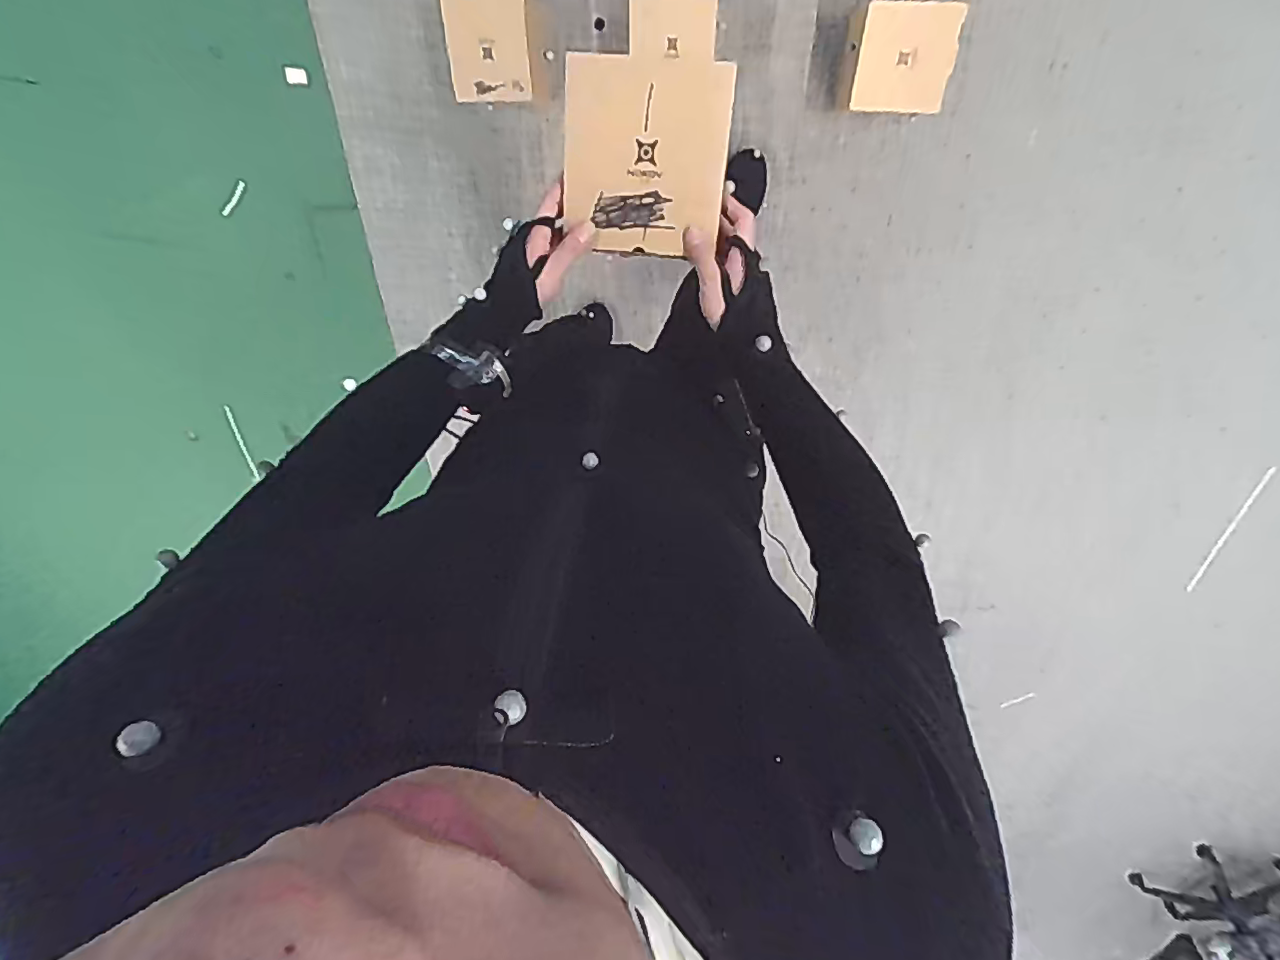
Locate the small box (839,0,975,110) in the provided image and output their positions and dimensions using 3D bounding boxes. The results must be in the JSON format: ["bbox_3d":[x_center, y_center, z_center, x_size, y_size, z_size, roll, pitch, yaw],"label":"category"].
[{"bbox_3d":[0.503,-0.824,1.051,0.179,0.176,0.168,4,123,4],"label":"small box"}]

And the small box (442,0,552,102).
[{"bbox_3d":[-0.284,-0.890,1.110,0.168,0.176,0.179,4,122,6],"label":"small box"}]

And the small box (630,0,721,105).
[{"bbox_3d":[0.071,-0.863,1.080,0.168,0.176,0.179,5,123,5],"label":"small box"}]
